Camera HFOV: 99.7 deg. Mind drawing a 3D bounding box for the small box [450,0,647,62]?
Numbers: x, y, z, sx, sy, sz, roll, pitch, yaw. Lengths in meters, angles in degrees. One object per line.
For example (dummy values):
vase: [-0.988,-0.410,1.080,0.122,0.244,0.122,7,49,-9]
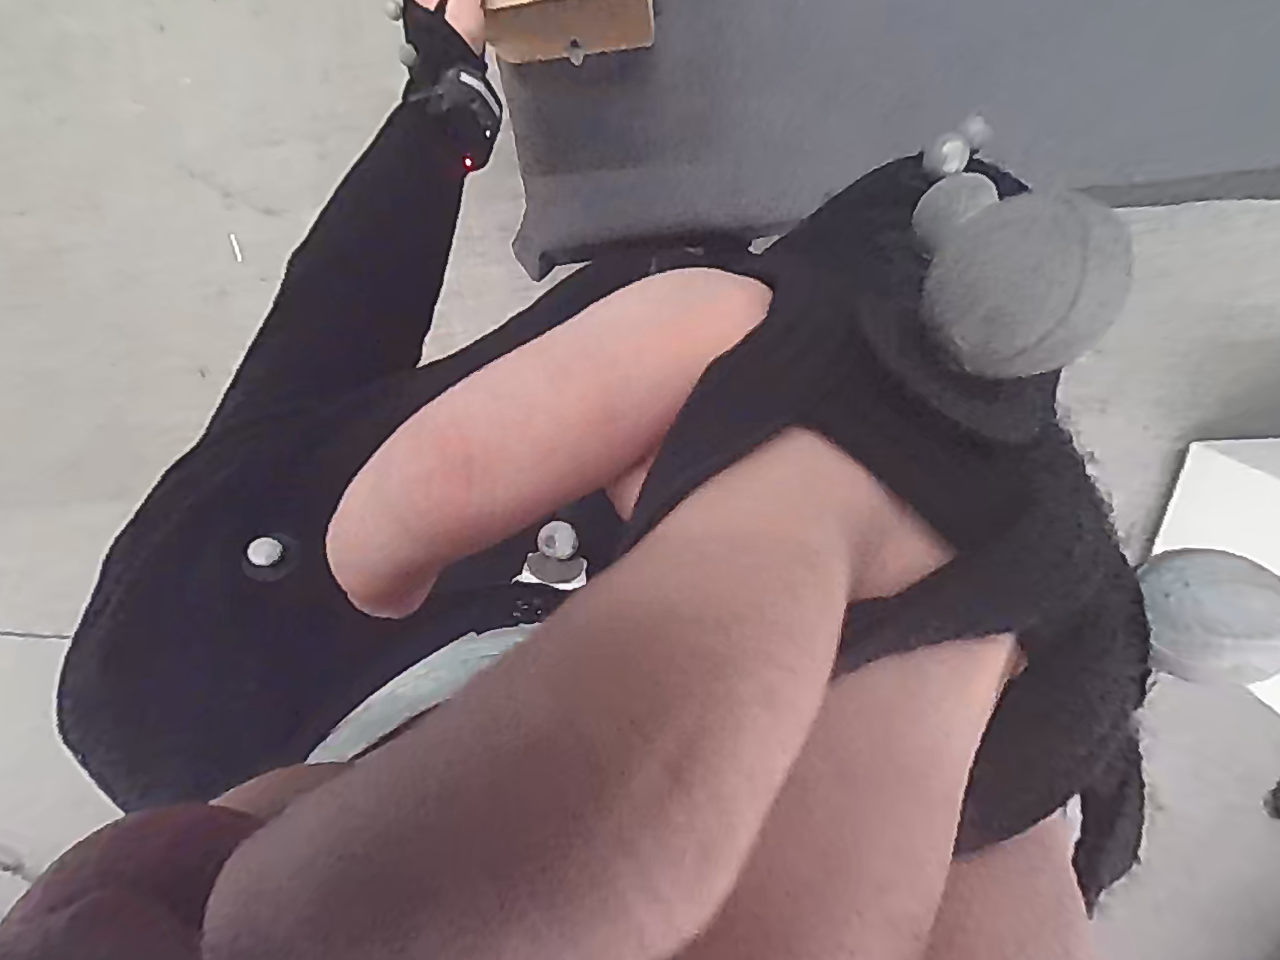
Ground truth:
small box: [-0.085,-0.529,0.517,0.179,0.176,0.168,-3,114,6]
